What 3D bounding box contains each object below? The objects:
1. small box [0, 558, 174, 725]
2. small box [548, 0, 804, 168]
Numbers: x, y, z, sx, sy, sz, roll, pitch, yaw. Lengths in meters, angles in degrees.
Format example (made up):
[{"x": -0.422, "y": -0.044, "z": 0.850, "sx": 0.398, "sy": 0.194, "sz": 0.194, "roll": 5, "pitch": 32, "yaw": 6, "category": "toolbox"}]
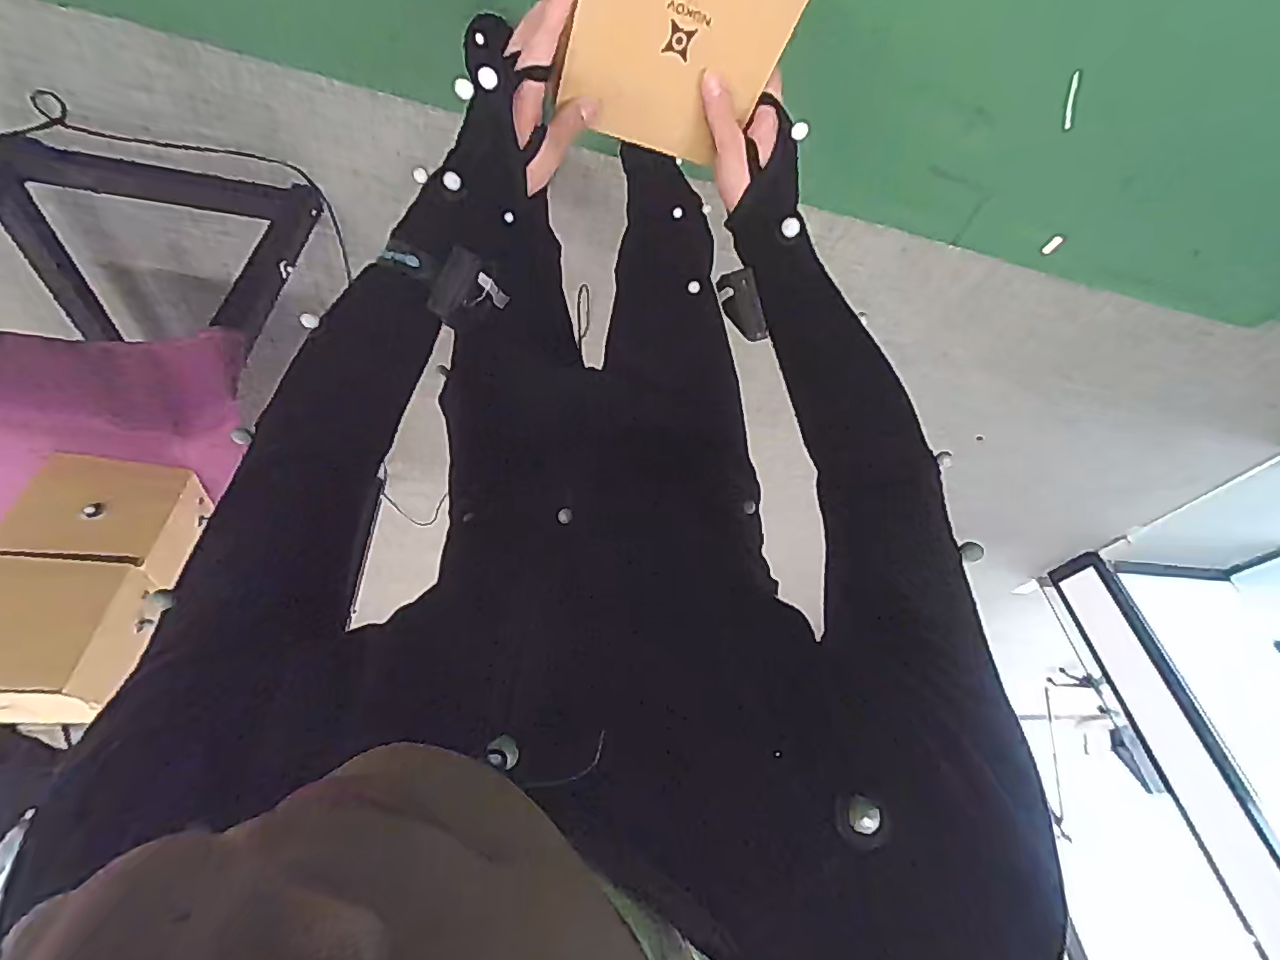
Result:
[{"x": -0.776, "y": 0.213, "z": 0.711, "sx": 0.179, "sy": 0.176, "sz": 0.168, "roll": 7, "pitch": 144, "yaw": -15, "category": "small box"}, {"x": 0.021, "y": -0.414, "z": 0.454, "sx": 0.168, "sy": 0.176, "sz": 0.179, "roll": 5, "pitch": 148, "yaw": -22, "category": "small box"}]
